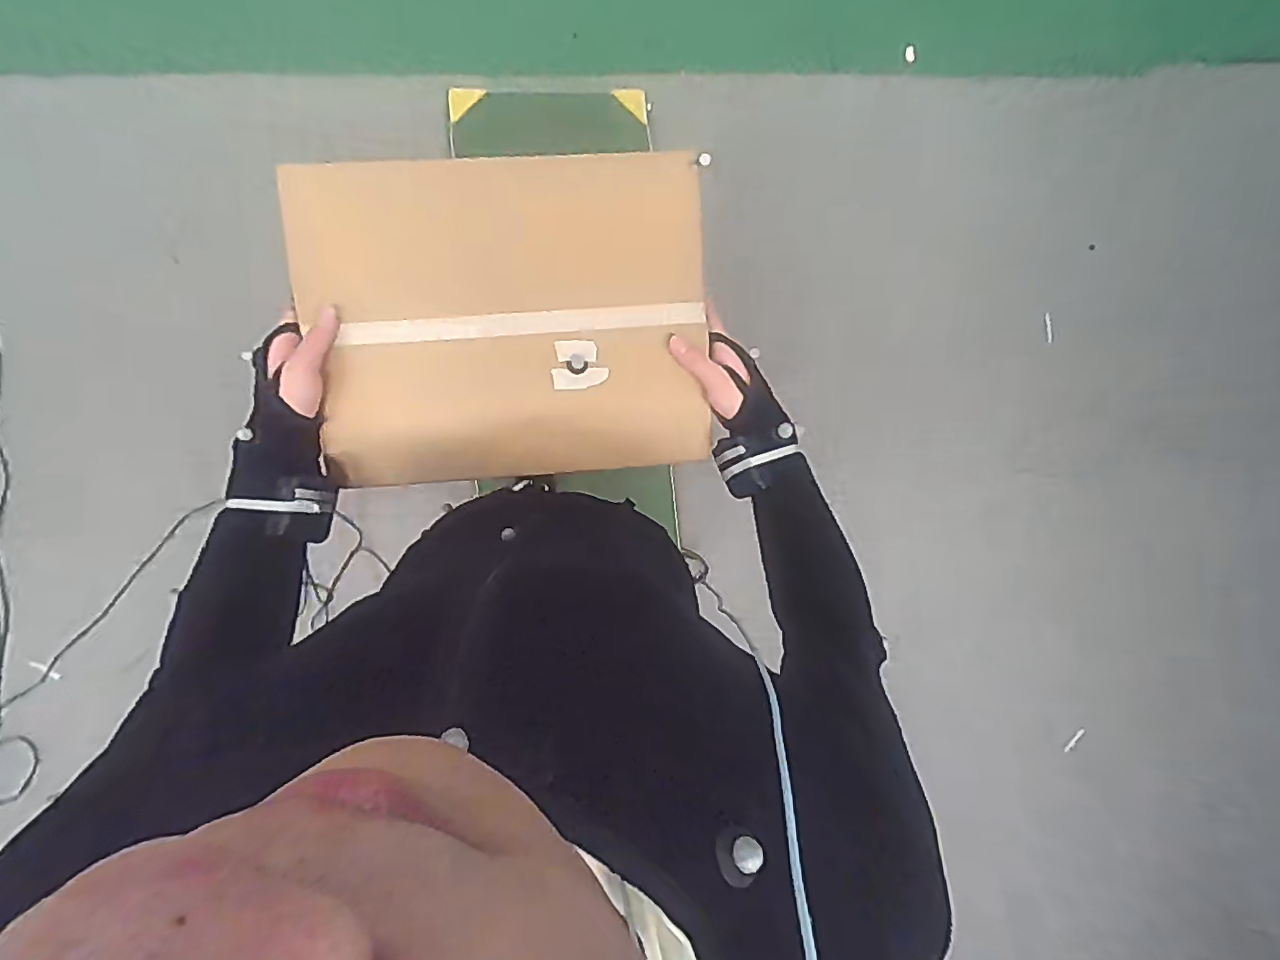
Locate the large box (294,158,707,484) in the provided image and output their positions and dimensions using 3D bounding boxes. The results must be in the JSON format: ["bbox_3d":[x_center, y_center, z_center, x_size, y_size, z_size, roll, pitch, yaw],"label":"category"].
[{"bbox_3d":[-0.147,-0.185,0.712,0.408,0.320,0.320,-5,100,-5],"label":"large box"}]
